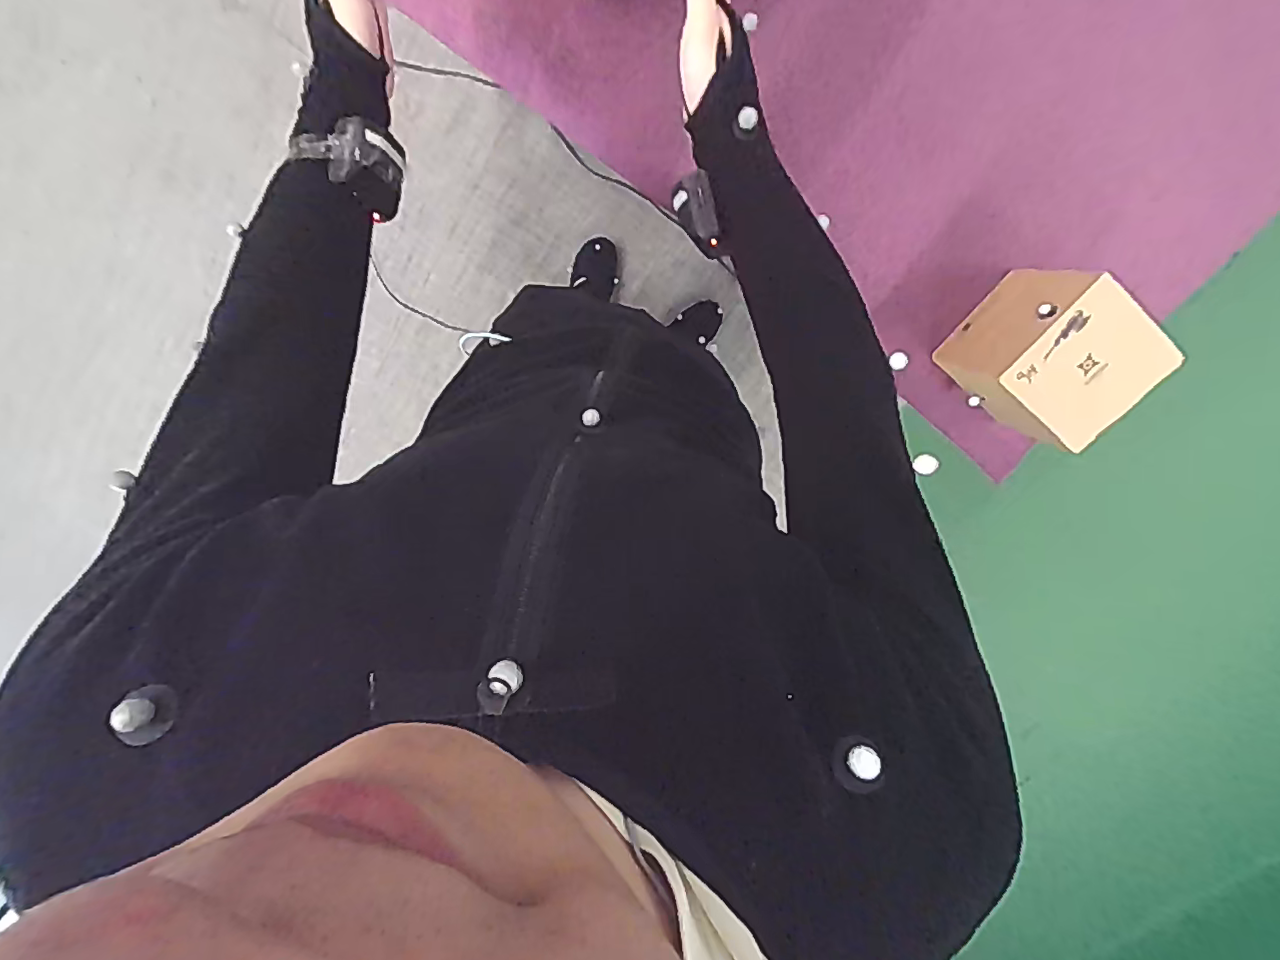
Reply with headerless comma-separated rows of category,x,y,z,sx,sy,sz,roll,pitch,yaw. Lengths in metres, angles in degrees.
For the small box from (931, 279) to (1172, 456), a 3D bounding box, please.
small box,0.565,-0.168,0.766,0.179,0.176,0.168,35,107,-15
